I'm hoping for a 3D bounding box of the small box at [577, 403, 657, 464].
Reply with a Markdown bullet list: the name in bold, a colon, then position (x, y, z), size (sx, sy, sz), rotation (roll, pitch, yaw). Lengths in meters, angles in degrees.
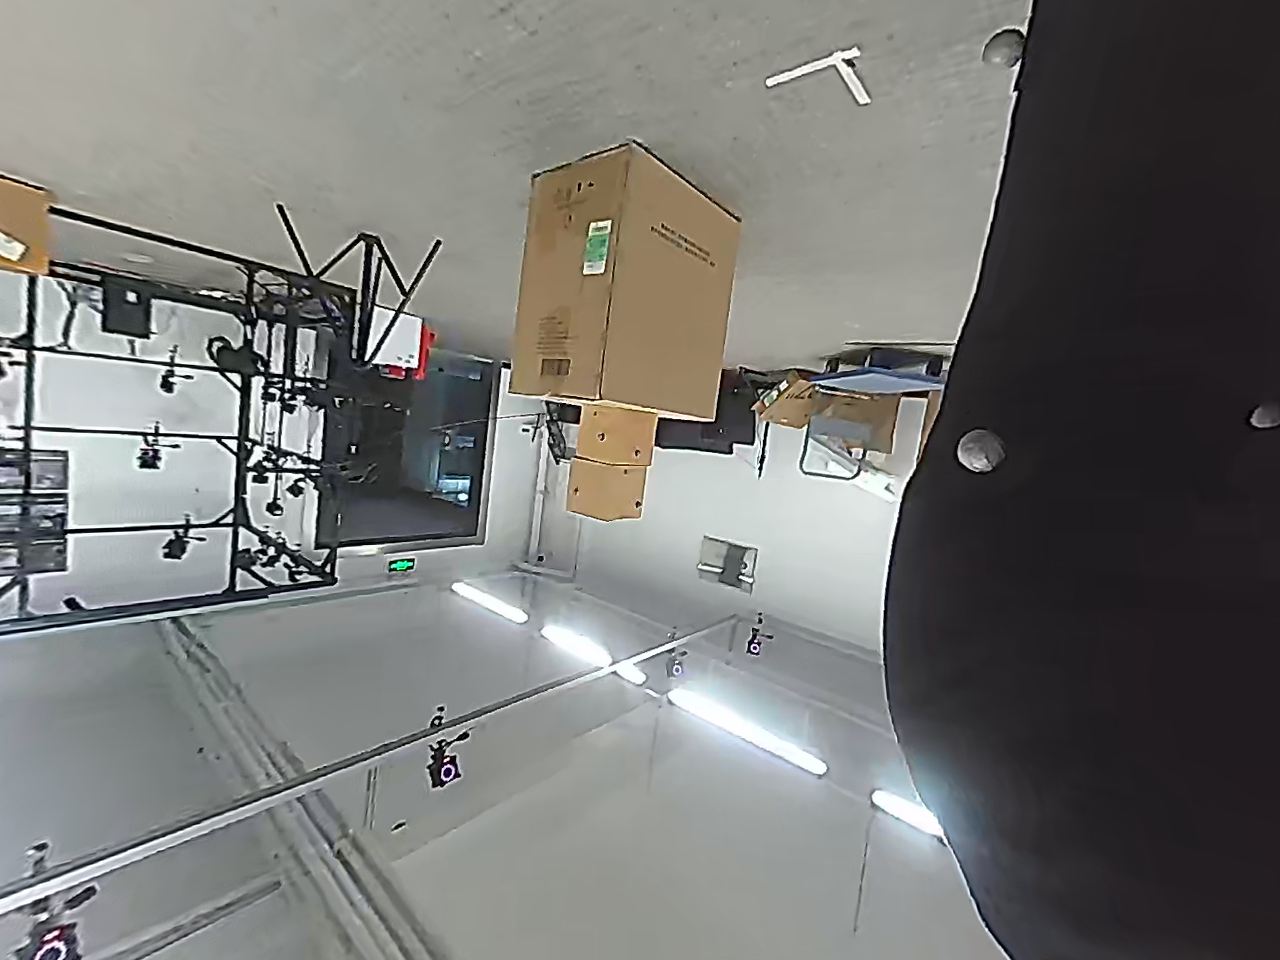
- **small box**: position (-0.069, -0.143, 1.648), size (0.168, 0.176, 0.179), rotation (11, -172, 40)
